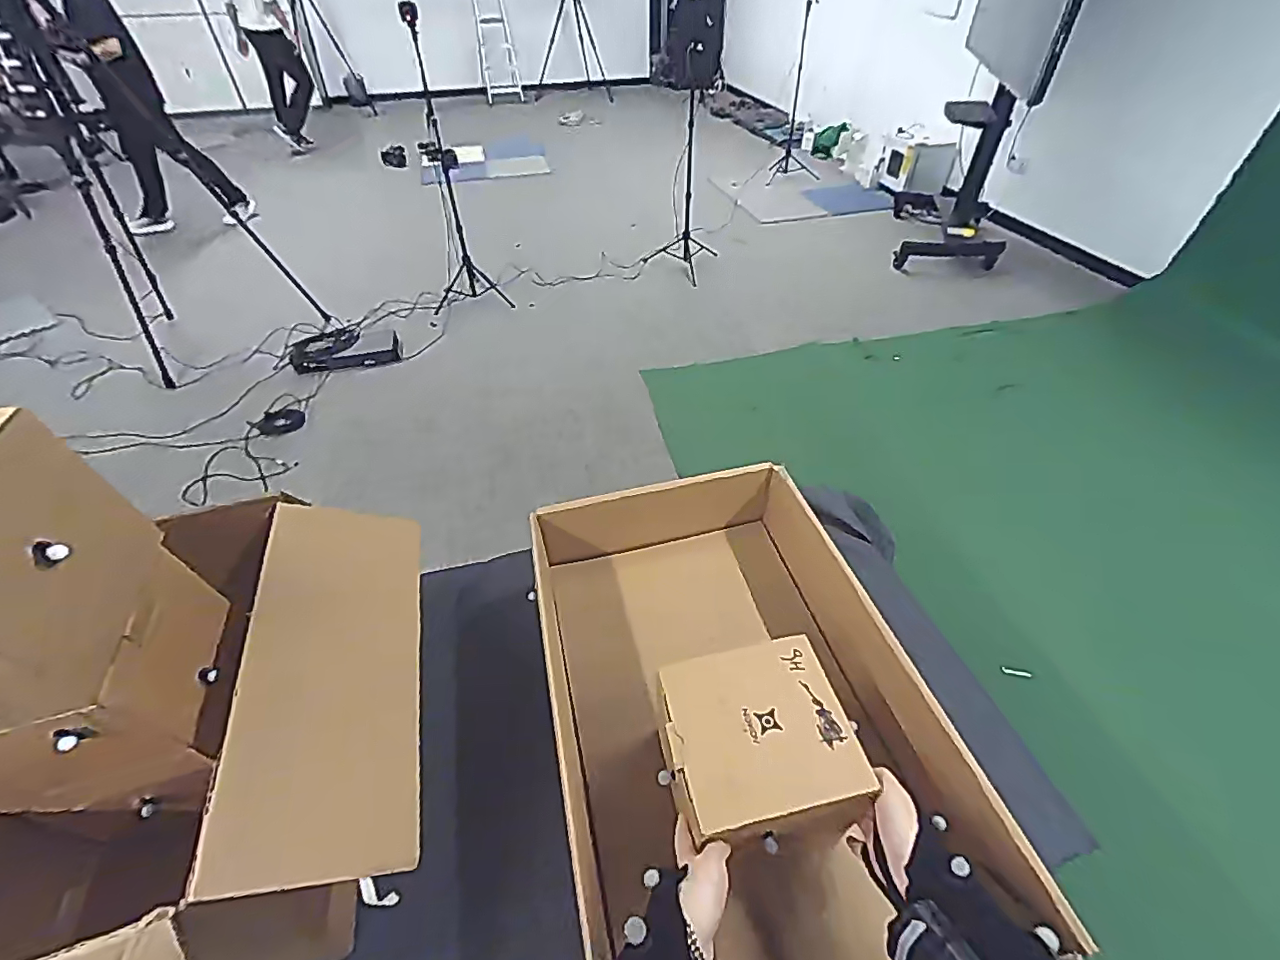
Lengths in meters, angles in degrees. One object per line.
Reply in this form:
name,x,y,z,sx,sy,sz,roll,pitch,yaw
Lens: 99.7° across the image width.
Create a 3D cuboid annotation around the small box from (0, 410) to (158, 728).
small box,-0.525,0.077,0.409,0.168,0.176,0.179,-12,49,-9
